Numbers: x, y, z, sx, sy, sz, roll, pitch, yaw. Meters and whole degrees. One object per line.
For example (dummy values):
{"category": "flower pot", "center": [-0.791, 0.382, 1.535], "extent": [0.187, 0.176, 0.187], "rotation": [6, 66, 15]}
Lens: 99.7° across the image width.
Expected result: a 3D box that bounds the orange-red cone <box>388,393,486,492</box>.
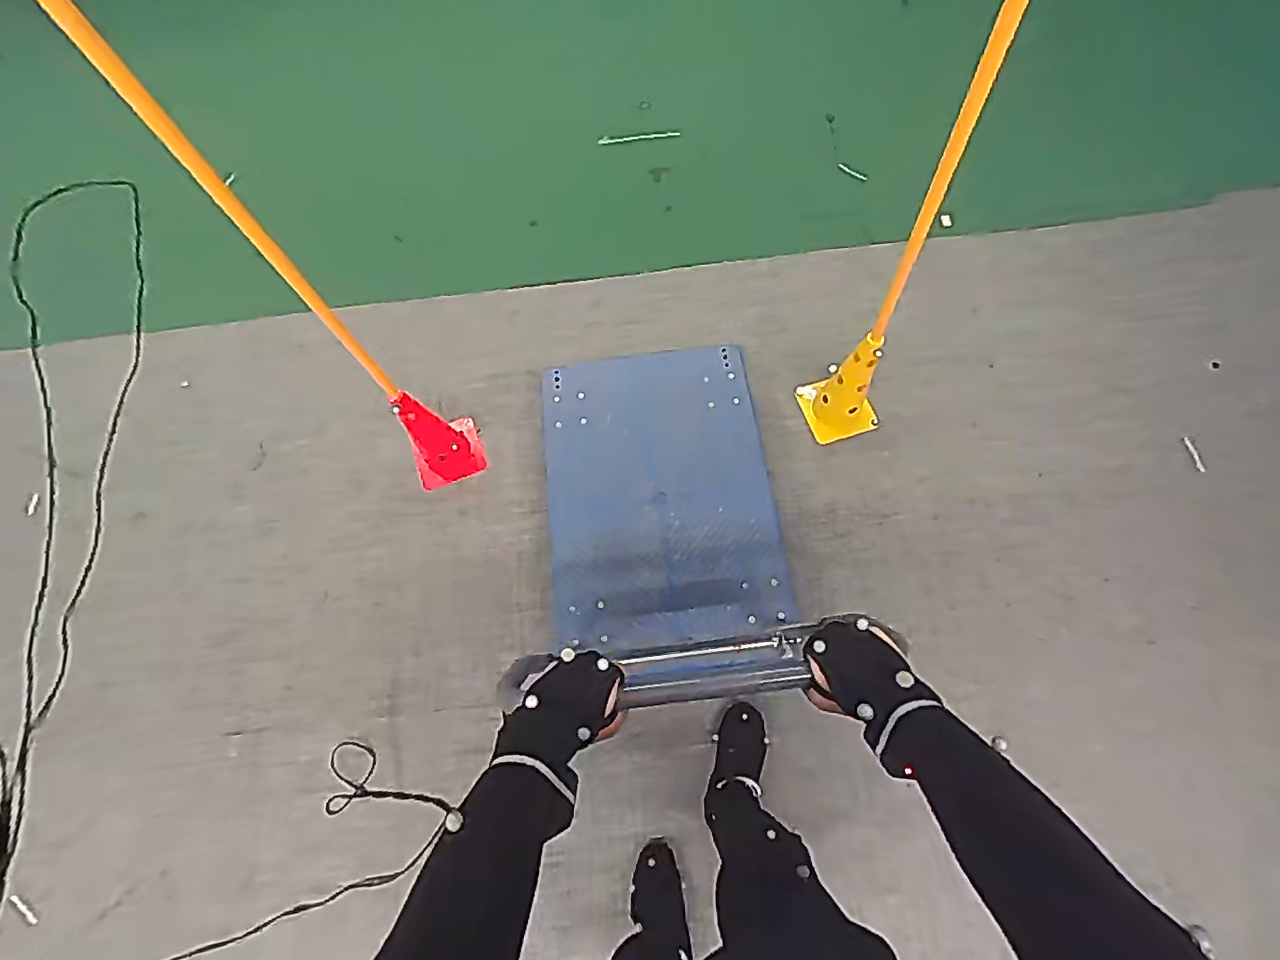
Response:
{"category": "orange-red cone", "center": [-0.591, -0.133, 1.488], "extent": [0.199, 0.360, 0.198], "rotation": [-21, 69, -3]}
